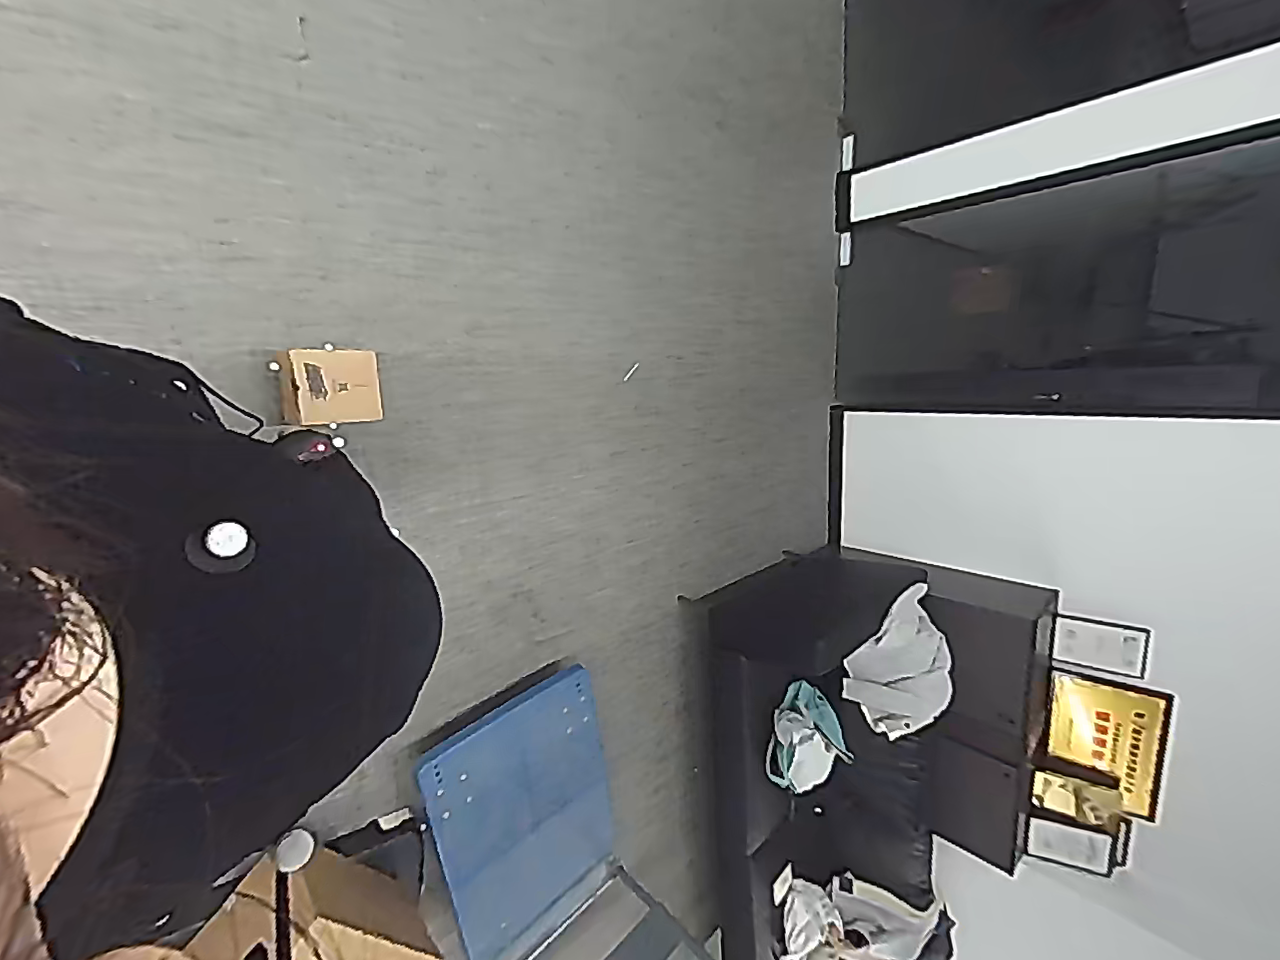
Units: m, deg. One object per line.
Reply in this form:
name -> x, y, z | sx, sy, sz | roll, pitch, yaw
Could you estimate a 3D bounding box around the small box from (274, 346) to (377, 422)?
small box -> -0.747, -0.224, 1.279 | 0.179, 0.176, 0.168 | -11, 105, -43
